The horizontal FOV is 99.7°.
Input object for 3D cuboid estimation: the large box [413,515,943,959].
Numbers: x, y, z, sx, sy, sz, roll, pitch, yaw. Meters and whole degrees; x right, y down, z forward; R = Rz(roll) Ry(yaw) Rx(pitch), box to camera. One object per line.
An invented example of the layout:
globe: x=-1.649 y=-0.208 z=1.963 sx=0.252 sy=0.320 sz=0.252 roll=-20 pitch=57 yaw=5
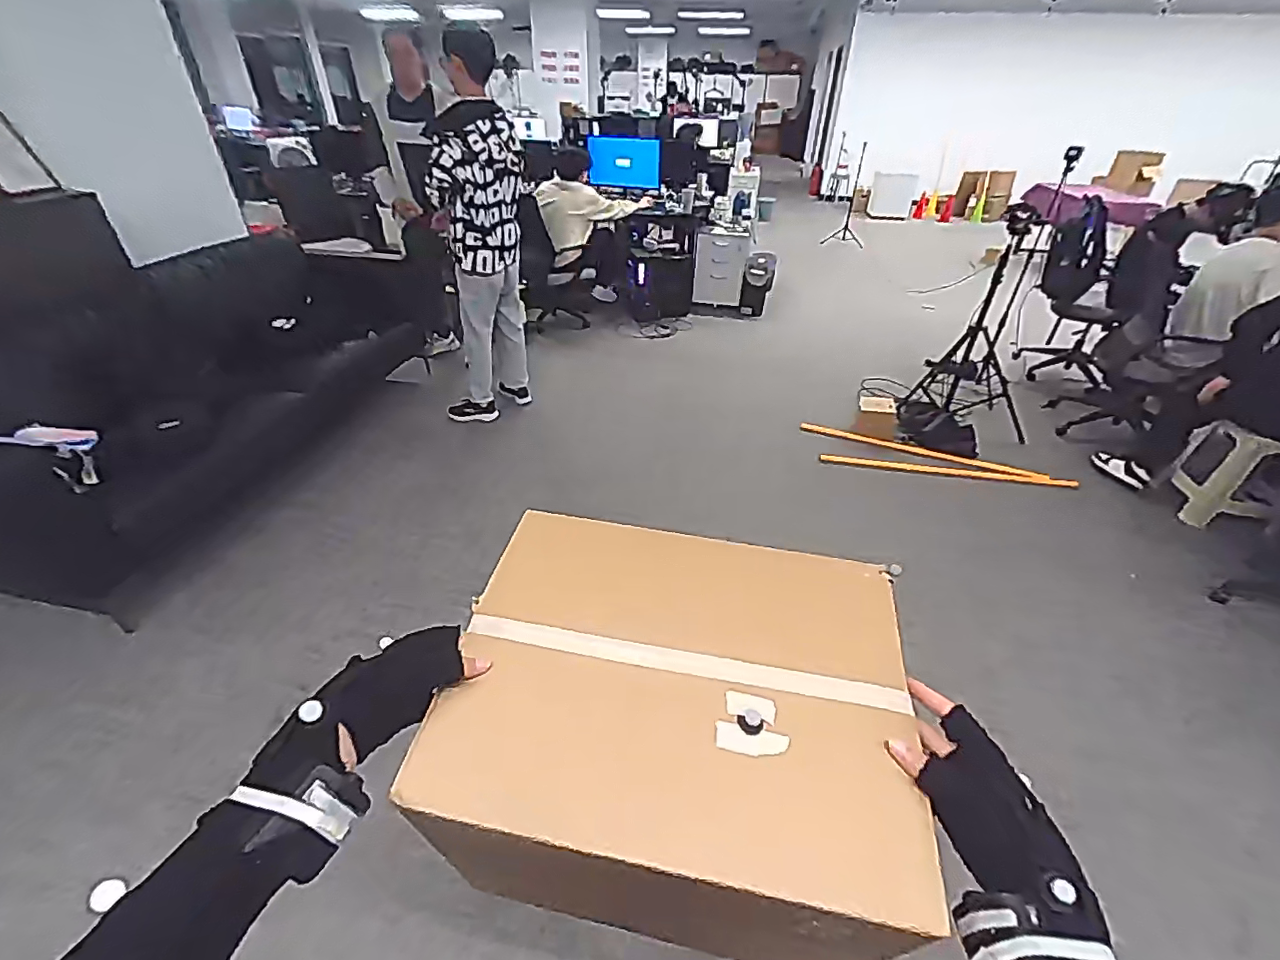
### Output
large box: x=0.037 y=0.276 z=0.603 sx=0.408 sy=0.320 sz=0.320 roll=9 pitch=44 yaw=7
